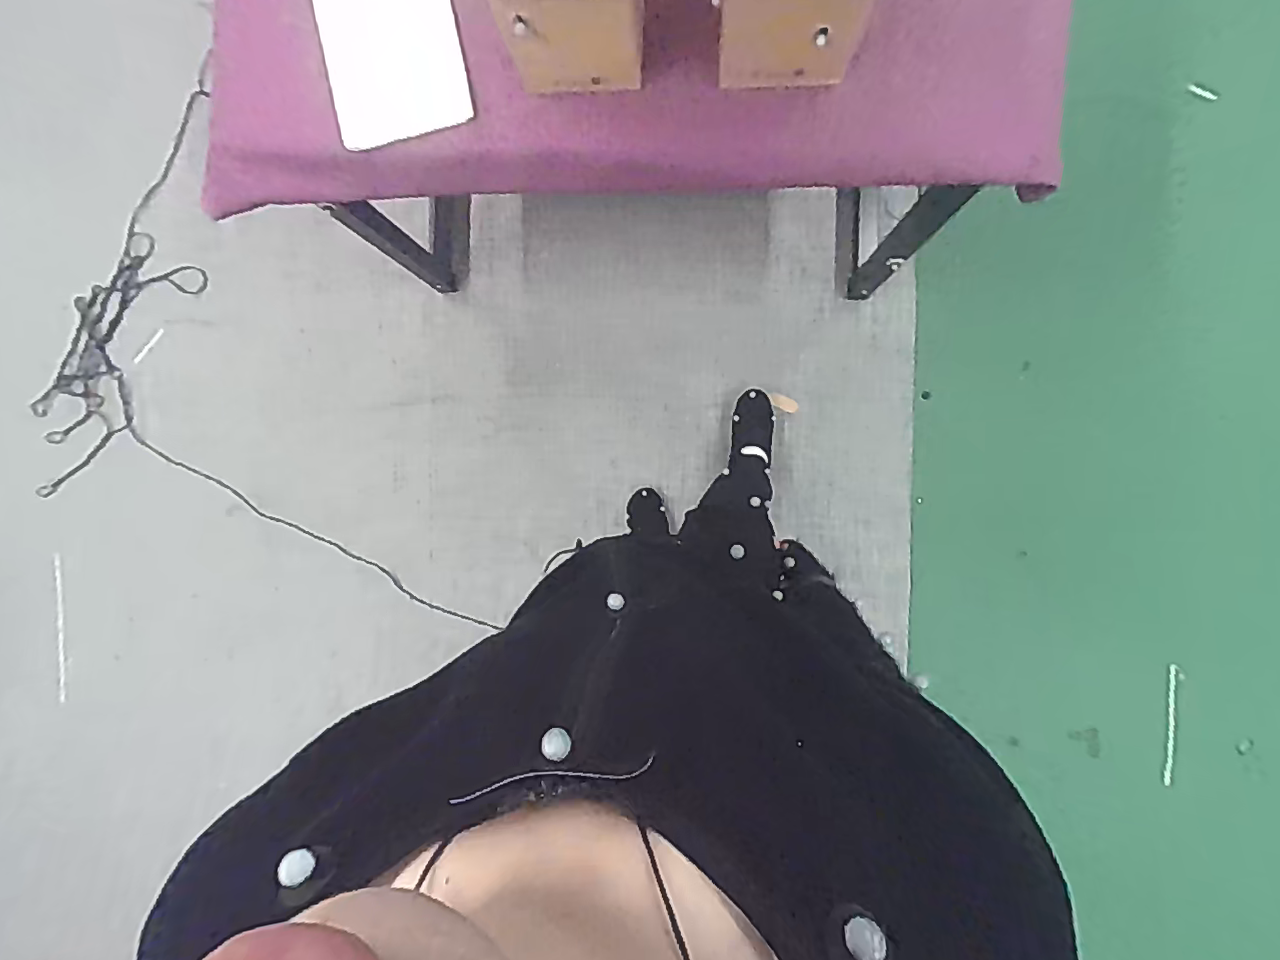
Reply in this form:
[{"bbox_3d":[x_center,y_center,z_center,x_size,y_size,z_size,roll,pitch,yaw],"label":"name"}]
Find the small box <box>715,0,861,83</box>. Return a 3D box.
[{"bbox_3d":[0.182,-0.629,0.666,0.168,0.176,0.179,2,90,4],"label":"small box"}]
